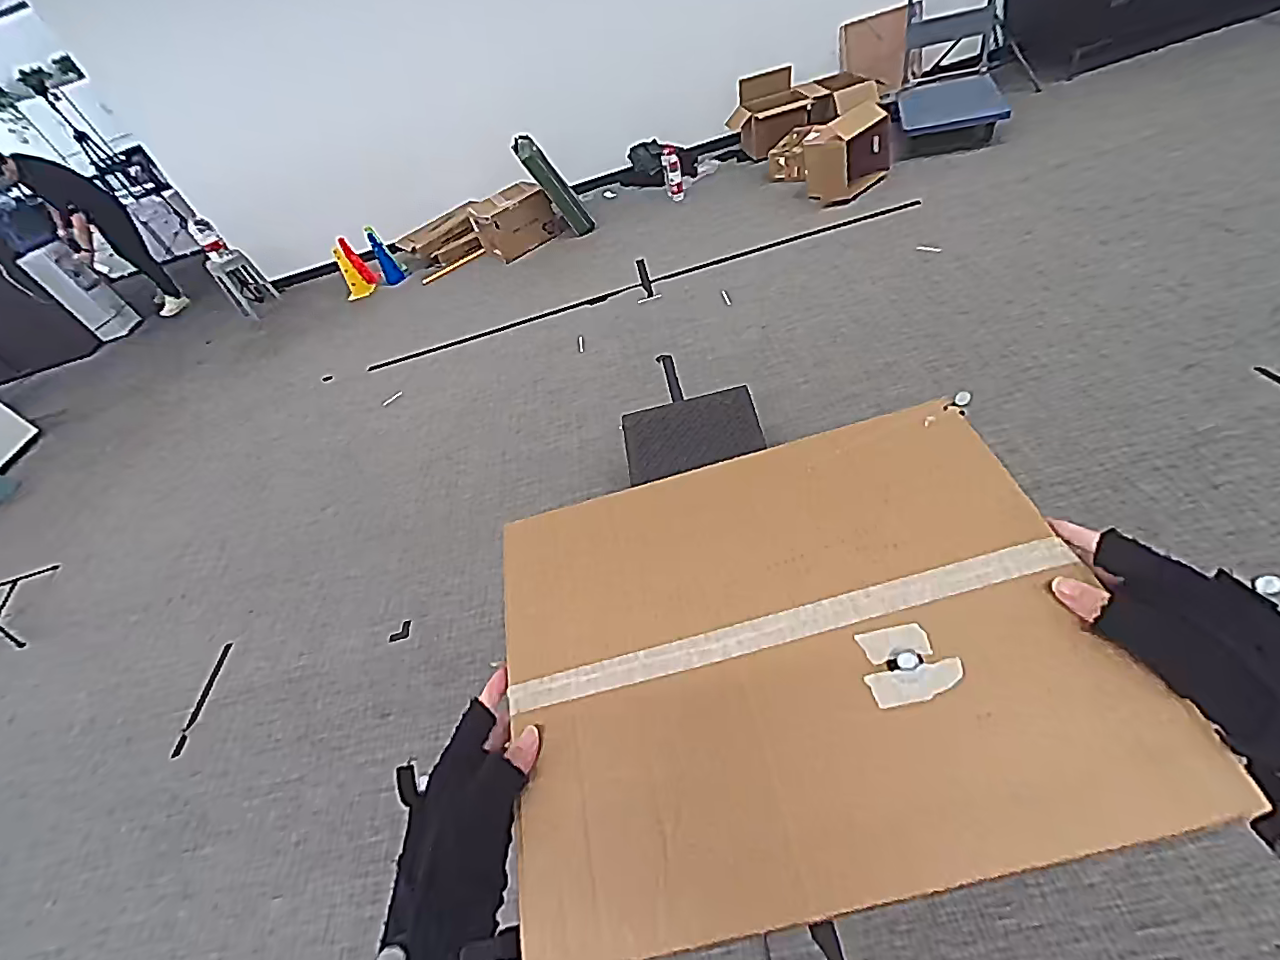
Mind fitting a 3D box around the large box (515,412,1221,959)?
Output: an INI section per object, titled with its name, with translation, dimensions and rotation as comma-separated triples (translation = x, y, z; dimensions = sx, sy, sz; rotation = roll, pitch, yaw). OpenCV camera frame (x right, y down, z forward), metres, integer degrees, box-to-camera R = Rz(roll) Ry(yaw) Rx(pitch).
[large box]
translation = 0.133, 0.197, 0.513
dimensions = 0.408, 0.320, 0.320
rotation = -16, 53, 3
